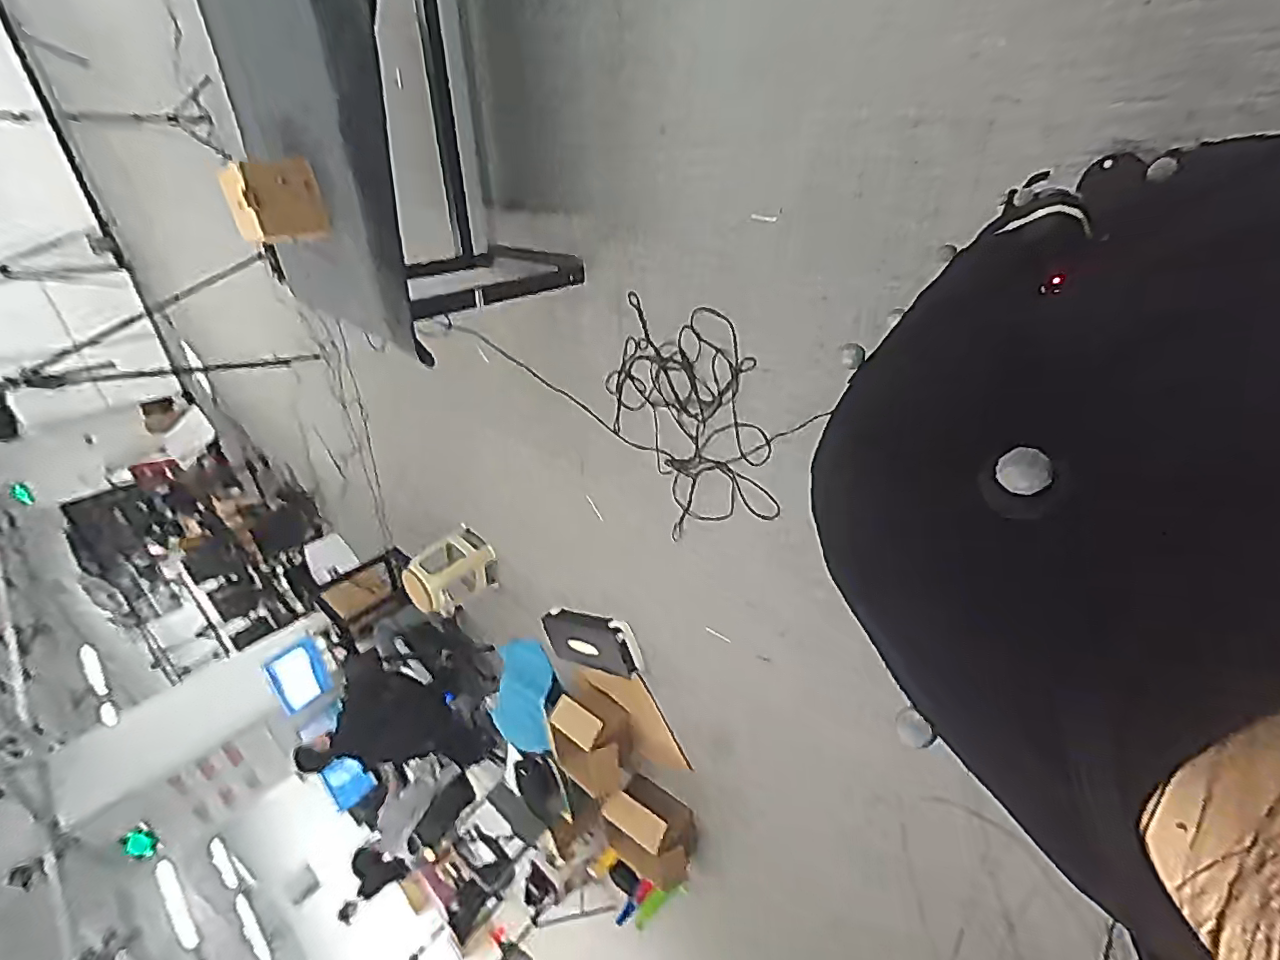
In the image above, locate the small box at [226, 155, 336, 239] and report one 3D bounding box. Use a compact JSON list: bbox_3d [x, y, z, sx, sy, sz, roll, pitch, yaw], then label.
[{"bbox_3d":[-0.899,-0.715,1.368,0.179,0.176,0.168,14,121,42],"label":"small box"}]
